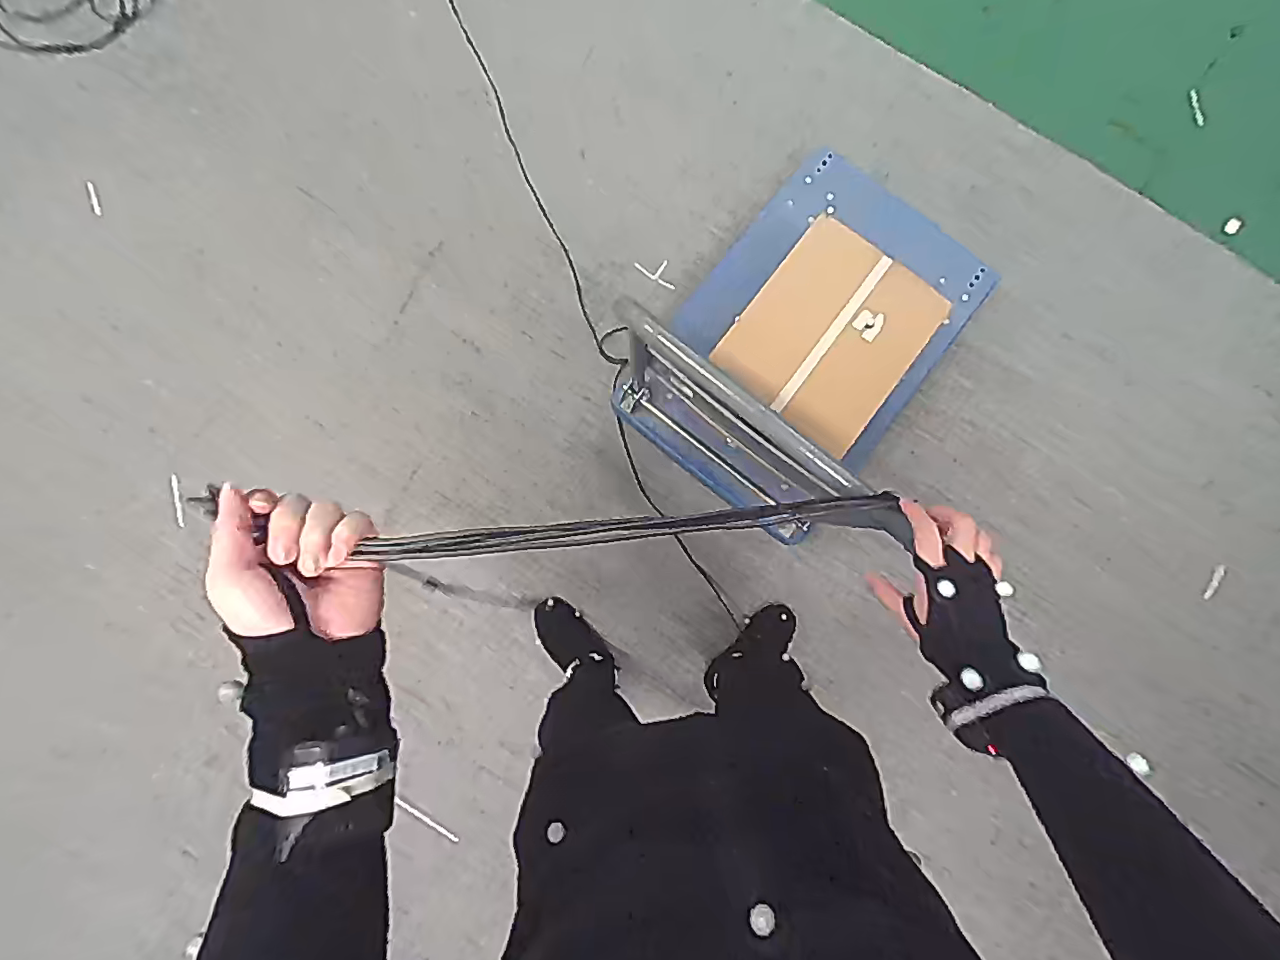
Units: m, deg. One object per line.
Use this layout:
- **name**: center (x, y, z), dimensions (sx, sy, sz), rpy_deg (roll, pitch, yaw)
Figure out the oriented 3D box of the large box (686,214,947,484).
- **large box**: center (0.344, -0.249, 1.160), dimensions (0.320, 0.320, 0.408), rpy_deg (38, 84, 2)
